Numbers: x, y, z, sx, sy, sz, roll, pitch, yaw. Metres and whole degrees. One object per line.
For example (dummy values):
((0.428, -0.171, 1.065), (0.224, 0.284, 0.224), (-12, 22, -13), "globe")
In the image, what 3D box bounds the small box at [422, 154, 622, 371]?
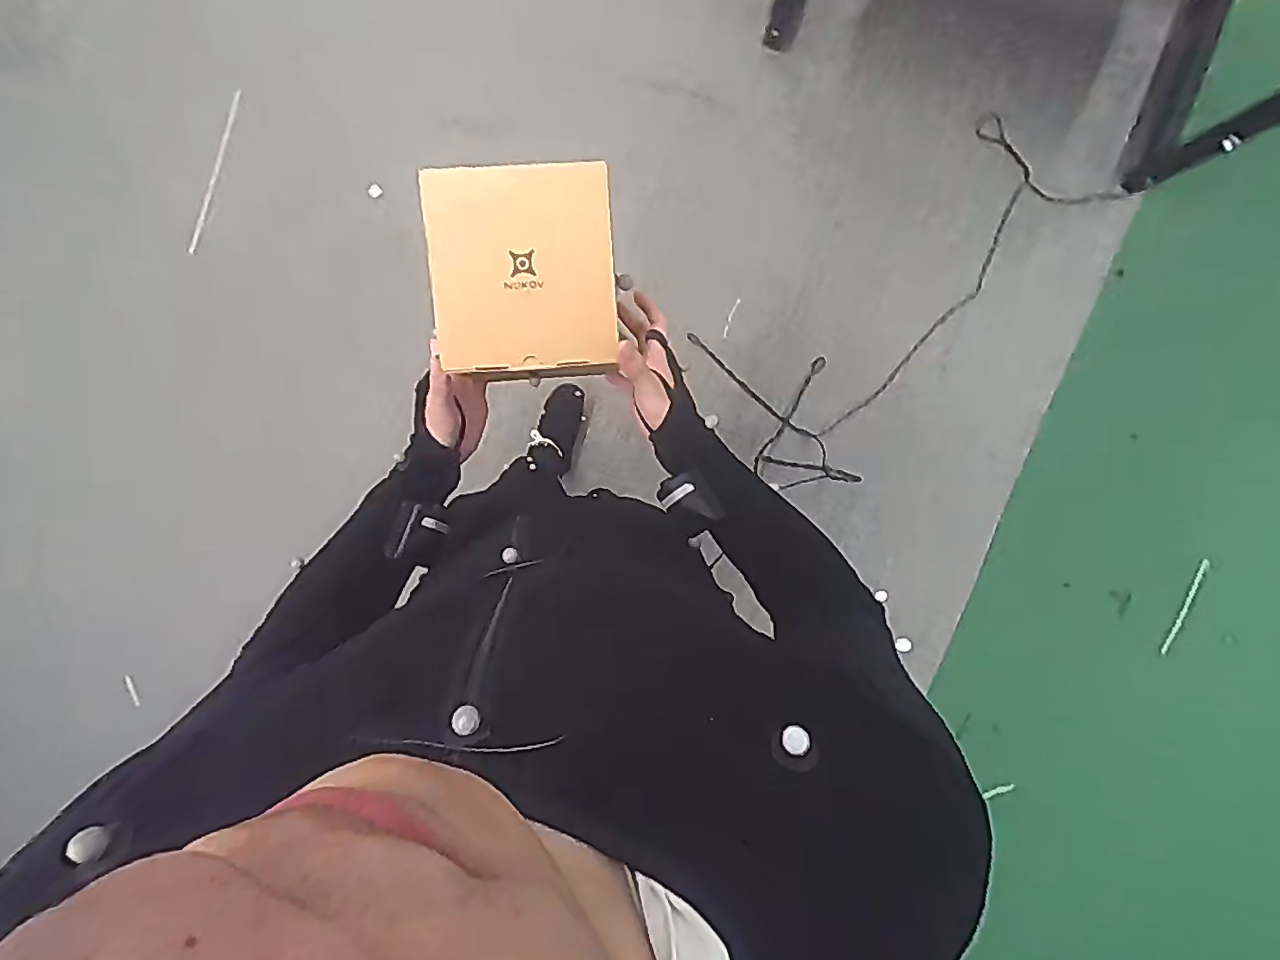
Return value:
((-0.108, -0.208, 0.560), (0.168, 0.176, 0.179), (-4, 100, -2), "small box")
